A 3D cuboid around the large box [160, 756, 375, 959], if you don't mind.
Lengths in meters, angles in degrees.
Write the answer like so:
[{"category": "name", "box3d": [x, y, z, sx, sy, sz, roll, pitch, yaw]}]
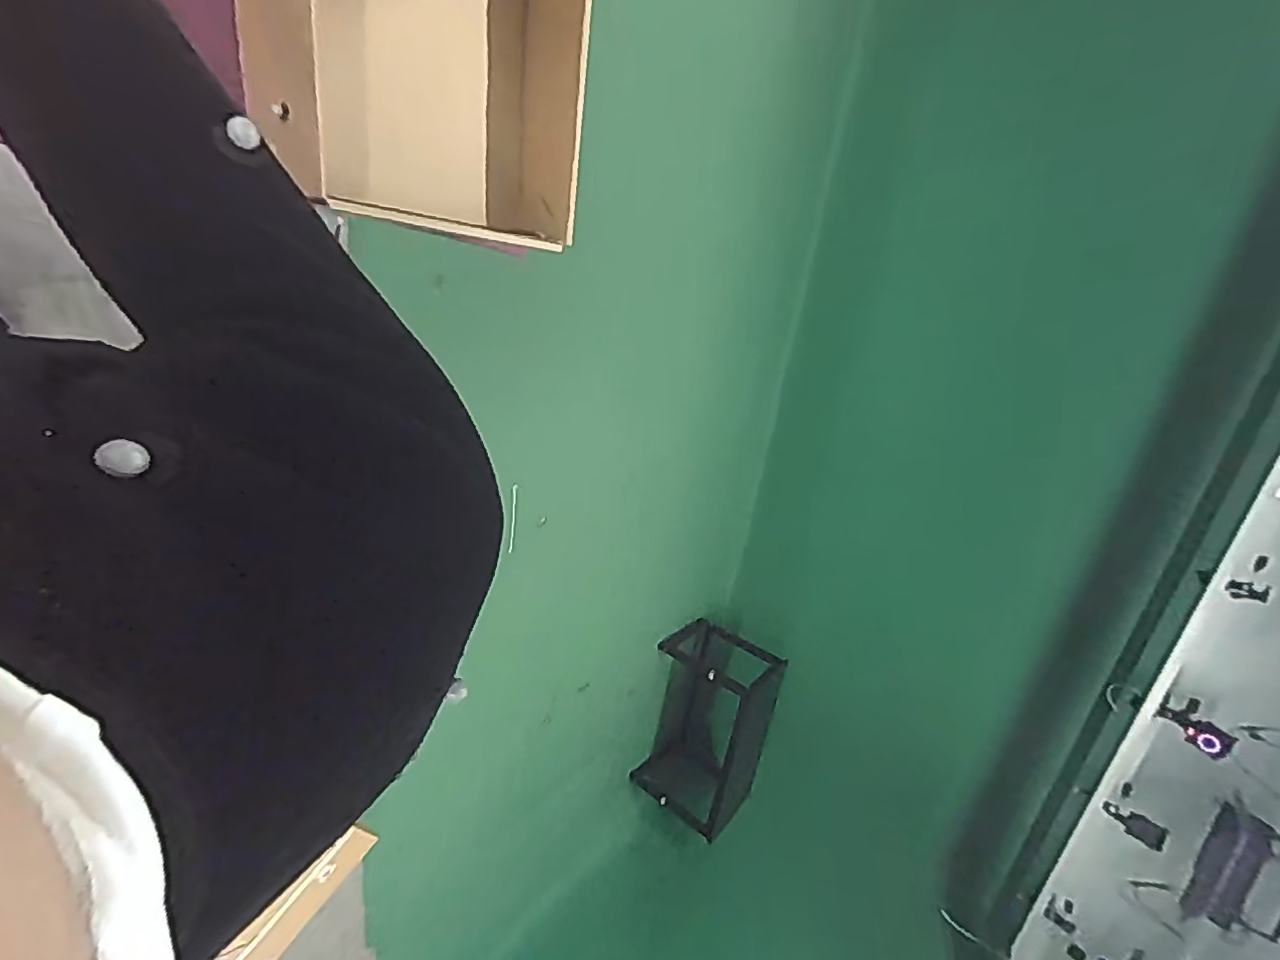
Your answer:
[{"category": "large box", "box3d": [-1.151, 1.178, 1.698, 0.408, 0.320, 0.320, -50, 143, -29]}]
